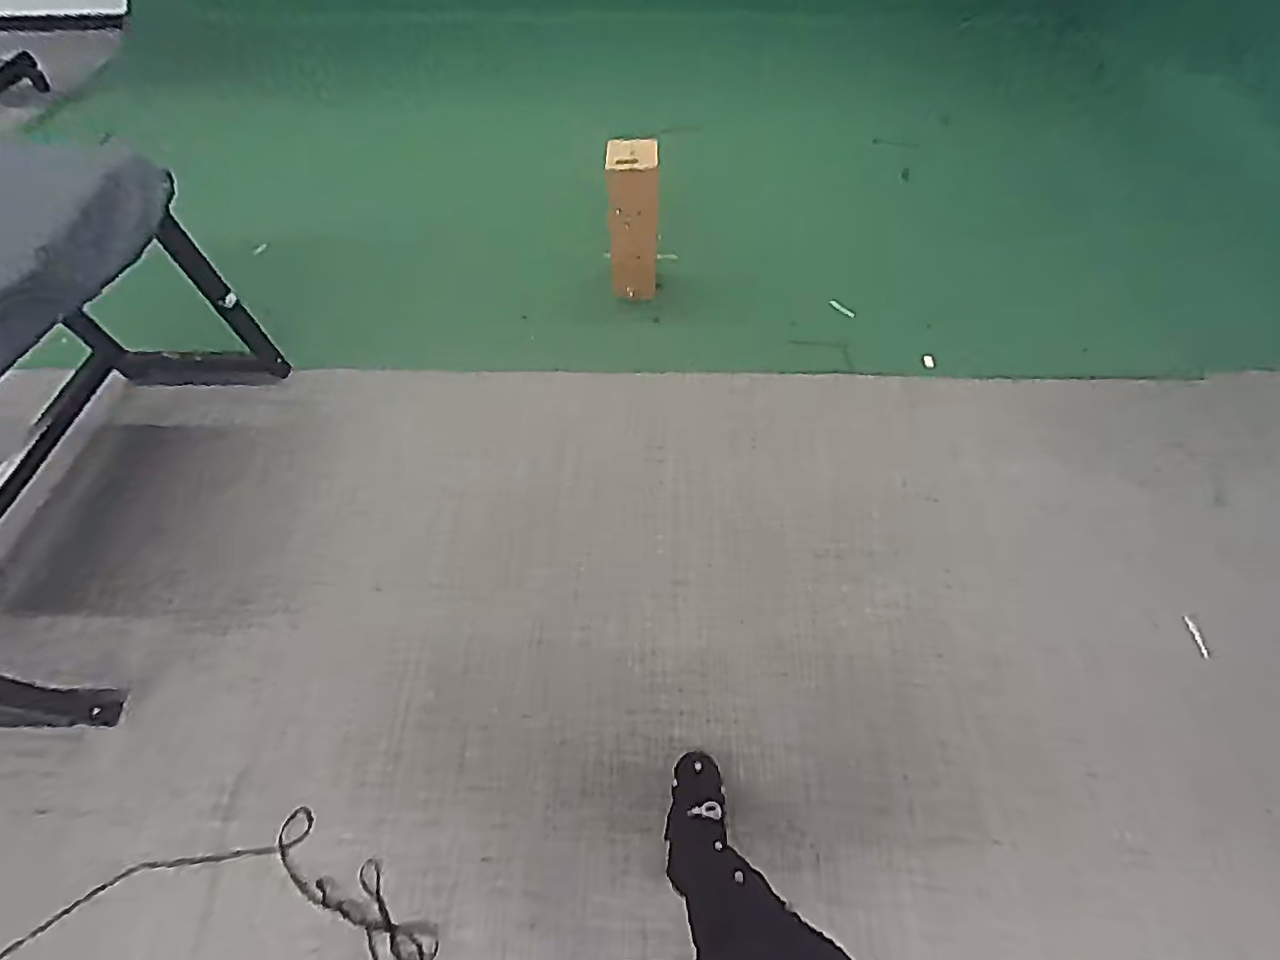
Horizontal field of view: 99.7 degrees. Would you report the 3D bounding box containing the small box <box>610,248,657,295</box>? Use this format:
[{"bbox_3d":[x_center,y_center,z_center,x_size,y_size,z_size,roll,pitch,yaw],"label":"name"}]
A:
[{"bbox_3d":[-0.021,-0.827,2.042,0.168,0.176,0.179,2,58,4],"label":"small box"}]

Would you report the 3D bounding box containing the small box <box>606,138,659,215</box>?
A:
[{"bbox_3d":[-0.021,-0.996,1.782,0.168,0.176,0.179,0,57,2],"label":"small box"}]

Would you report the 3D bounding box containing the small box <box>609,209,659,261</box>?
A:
[{"bbox_3d":[-0.019,-0.906,1.920,0.168,0.176,0.179,2,57,3],"label":"small box"}]
